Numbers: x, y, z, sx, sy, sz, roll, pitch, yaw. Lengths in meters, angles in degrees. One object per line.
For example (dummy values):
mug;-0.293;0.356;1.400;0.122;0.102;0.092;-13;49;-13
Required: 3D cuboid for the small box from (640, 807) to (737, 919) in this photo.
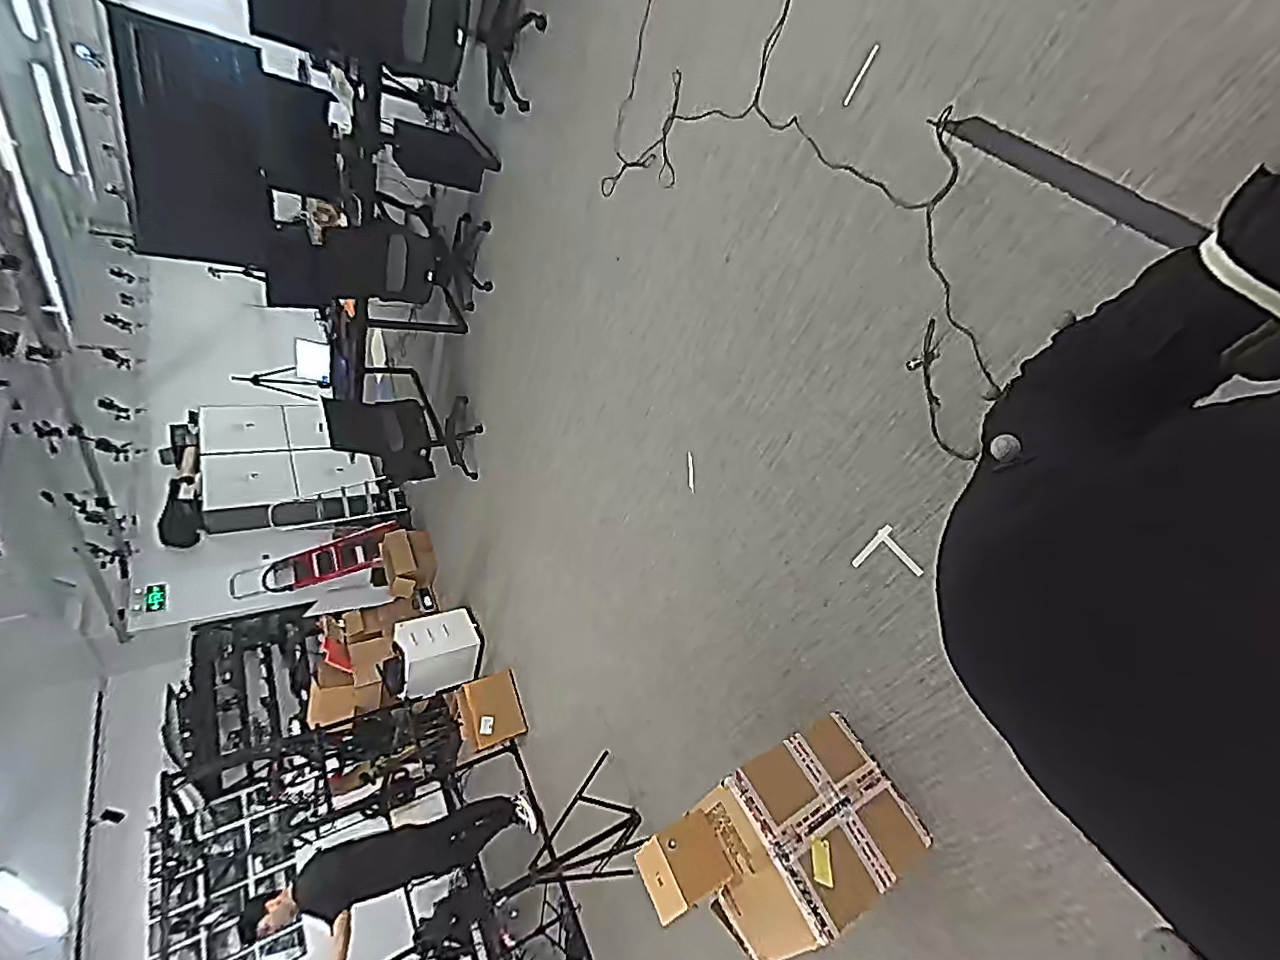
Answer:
small box;0.133;1.035;1.470;0.179;0.176;0.168;56;135;36
